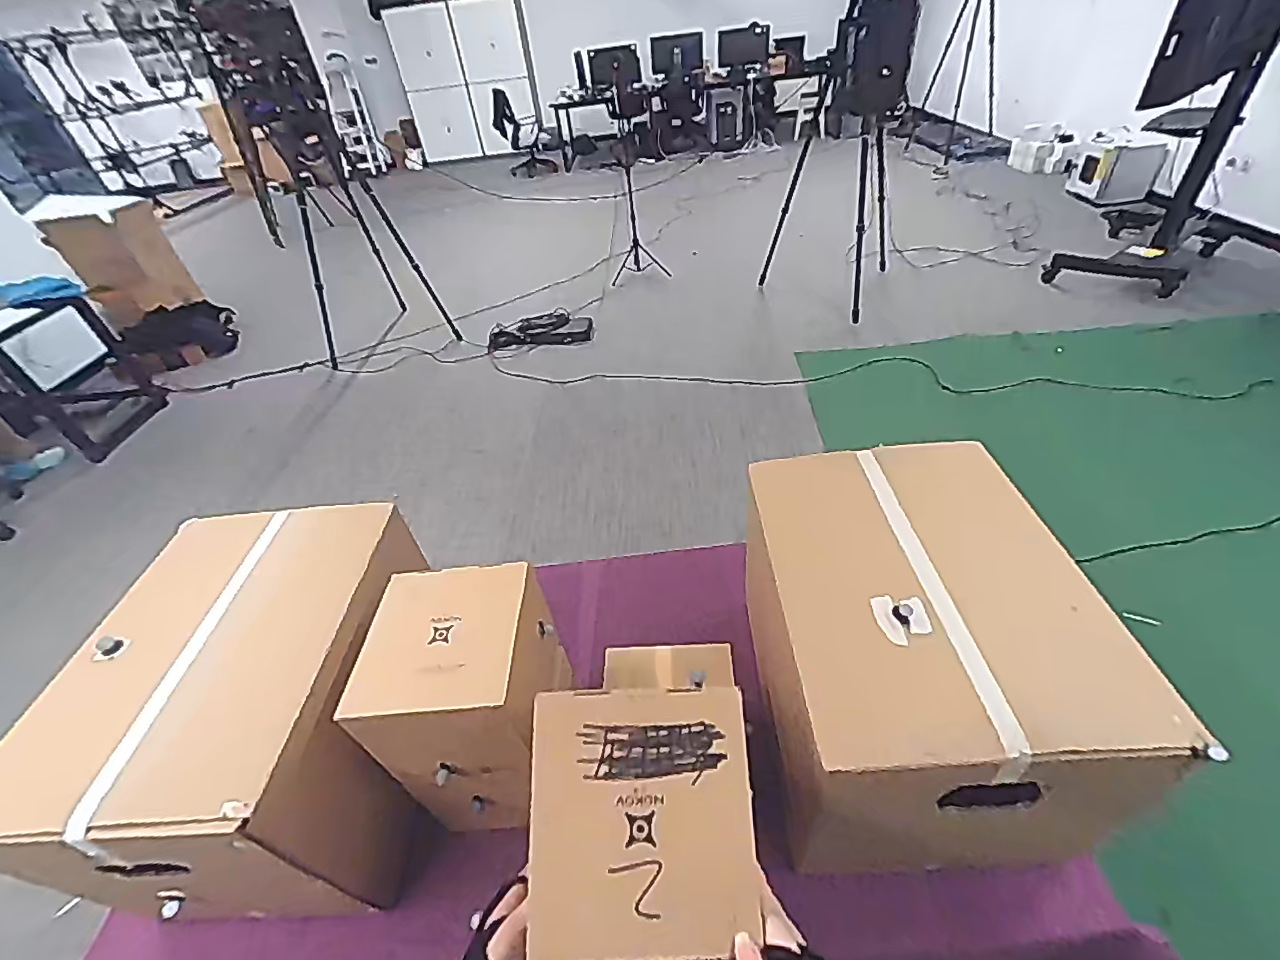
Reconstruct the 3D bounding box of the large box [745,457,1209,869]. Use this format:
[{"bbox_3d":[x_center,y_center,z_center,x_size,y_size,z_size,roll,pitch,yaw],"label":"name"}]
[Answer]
[{"bbox_3d":[0.325,0.219,0.695,0.320,0.320,0.408,-5,41,4],"label":"large box"}]
